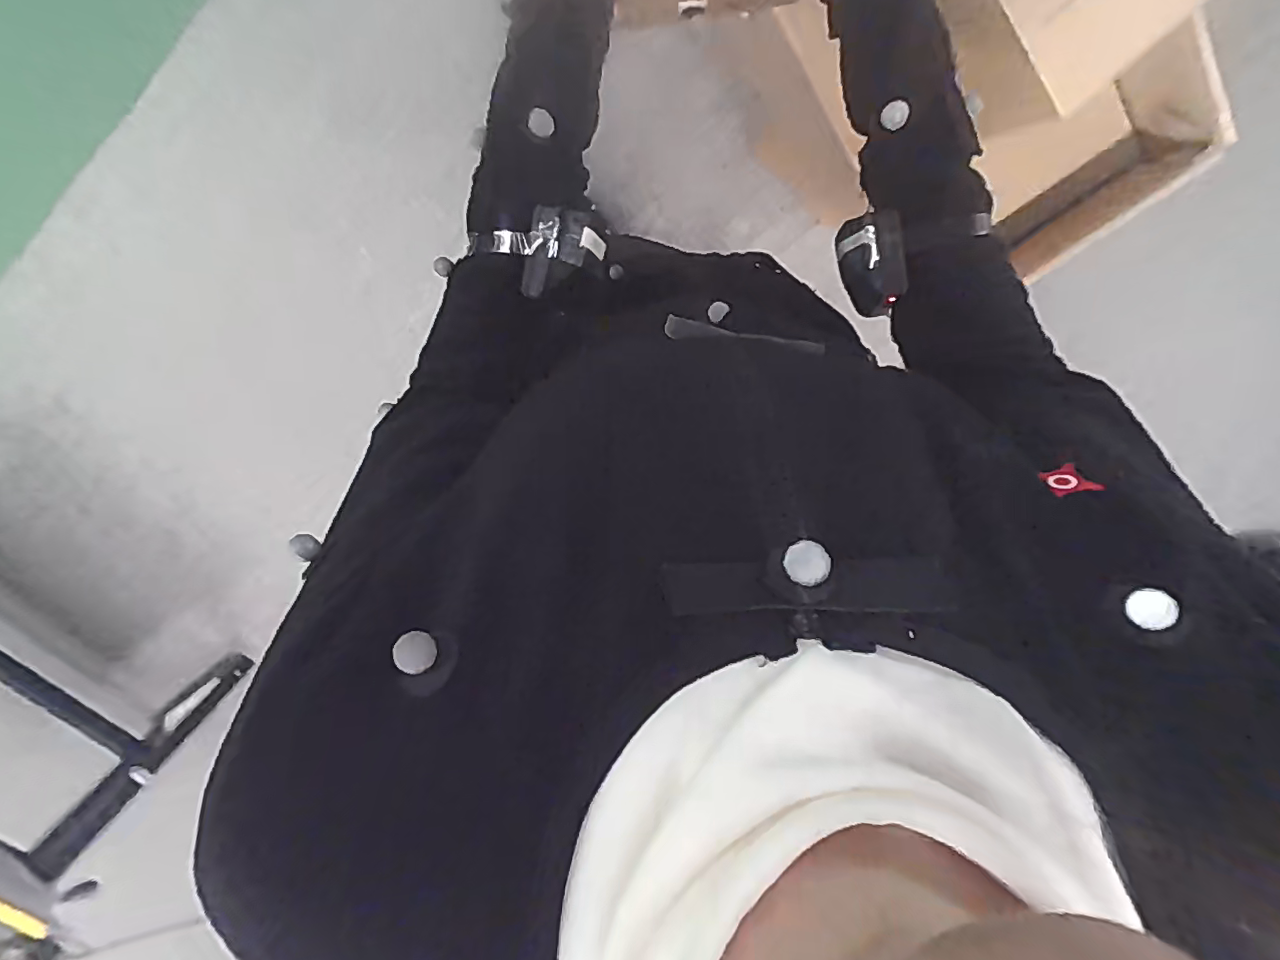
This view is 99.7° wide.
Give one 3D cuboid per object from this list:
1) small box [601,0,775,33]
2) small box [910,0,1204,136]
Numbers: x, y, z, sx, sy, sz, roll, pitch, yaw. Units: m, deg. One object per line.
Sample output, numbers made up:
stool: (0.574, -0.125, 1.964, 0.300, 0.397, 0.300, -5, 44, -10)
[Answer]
small box: (0.035, -0.440, 0.356, 0.168, 0.176, 0.179, -8, 116, 5)
small box: (0.417, -0.490, 0.546, 0.179, 0.176, 0.168, -39, 107, 19)
